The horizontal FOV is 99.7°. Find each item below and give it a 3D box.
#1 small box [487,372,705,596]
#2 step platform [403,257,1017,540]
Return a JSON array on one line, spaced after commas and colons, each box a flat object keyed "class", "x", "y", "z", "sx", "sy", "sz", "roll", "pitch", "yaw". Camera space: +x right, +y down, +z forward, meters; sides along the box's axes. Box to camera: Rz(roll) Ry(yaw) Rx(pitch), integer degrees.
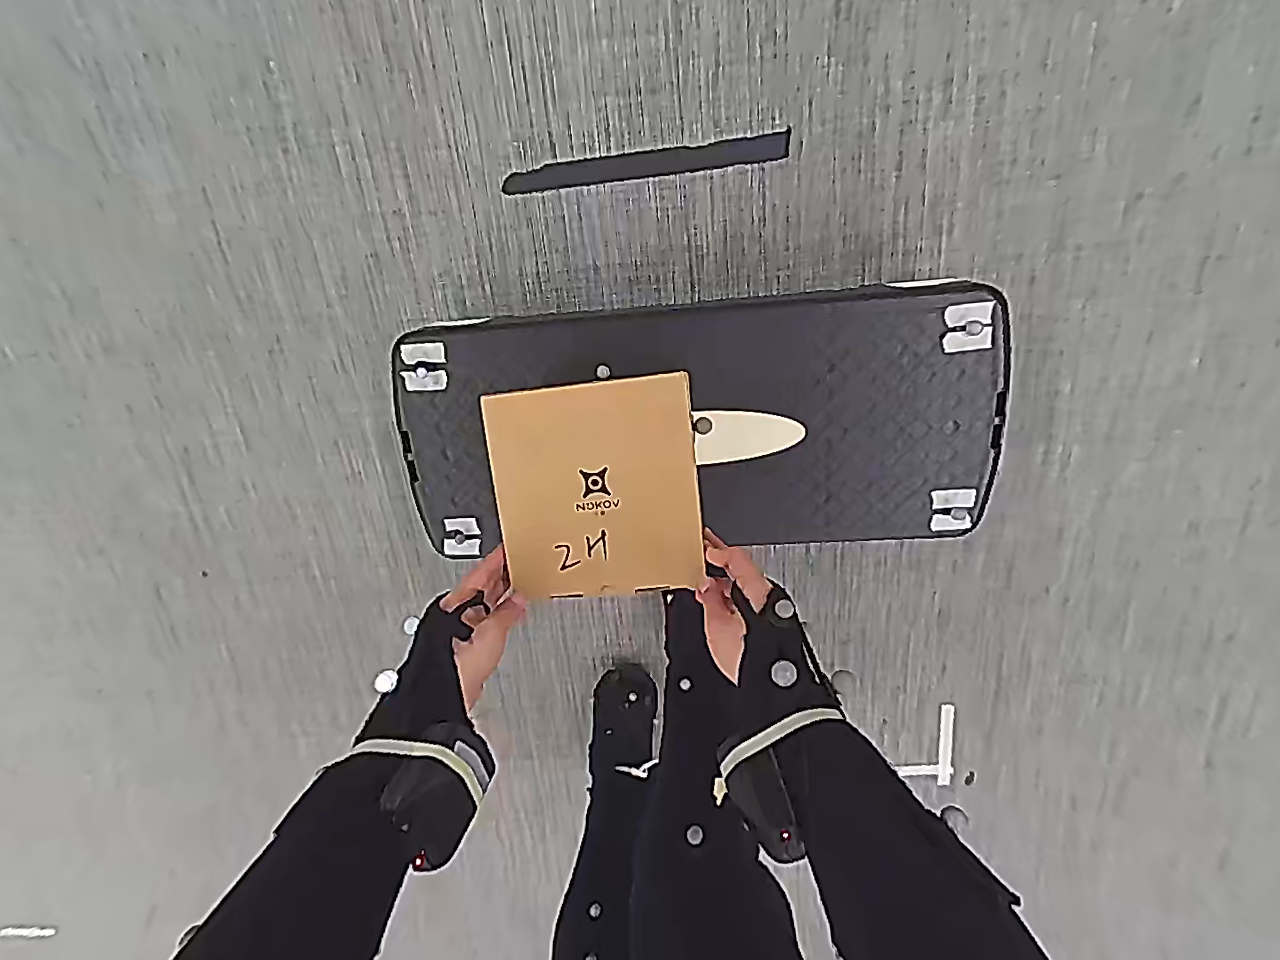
[{"class": "small box", "x": -0.029, "y": -0.005, "z": 0.519, "sx": 0.168, "sy": 0.176, "sz": 0.179, "roll": -5, "pitch": 100, "yaw": 6}, {"class": "step platform", "x": 0.071, "y": -0.096, "z": 0.676, "sx": 0.684, "sy": 0.204, "sz": 0.286, "roll": -4, "pitch": 107, "yaw": 6}]
